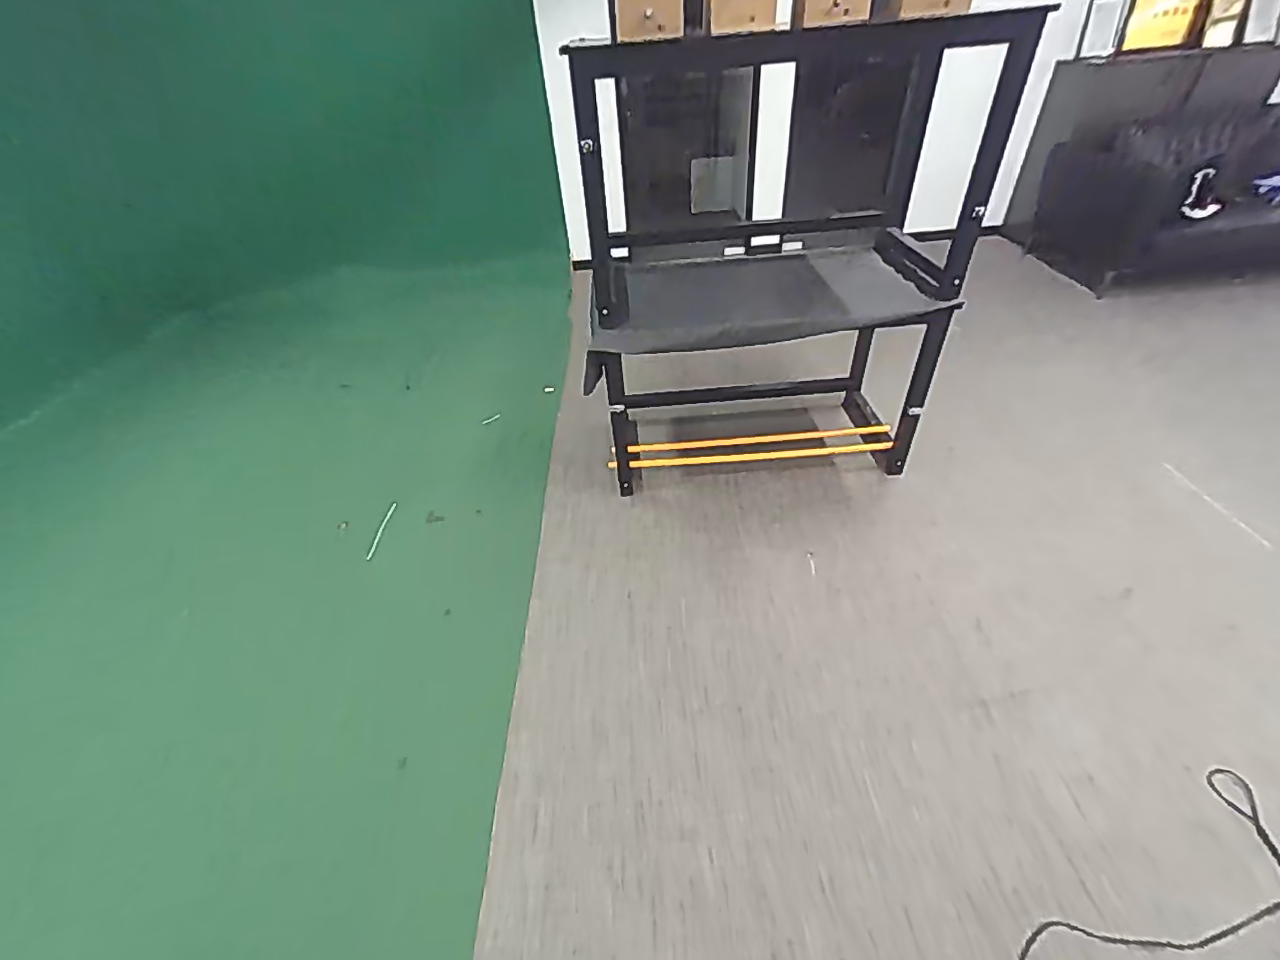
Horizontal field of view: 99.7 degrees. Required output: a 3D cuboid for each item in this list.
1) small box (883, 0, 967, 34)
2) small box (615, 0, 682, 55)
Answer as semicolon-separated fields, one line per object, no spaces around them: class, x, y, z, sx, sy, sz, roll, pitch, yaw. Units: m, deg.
small box;0.740;-1.263;1.388;0.168;0.176;0.179;3;40;9
small box;0.019;-1.223;1.414;0.168;0.176;0.179;-5;41;-1
